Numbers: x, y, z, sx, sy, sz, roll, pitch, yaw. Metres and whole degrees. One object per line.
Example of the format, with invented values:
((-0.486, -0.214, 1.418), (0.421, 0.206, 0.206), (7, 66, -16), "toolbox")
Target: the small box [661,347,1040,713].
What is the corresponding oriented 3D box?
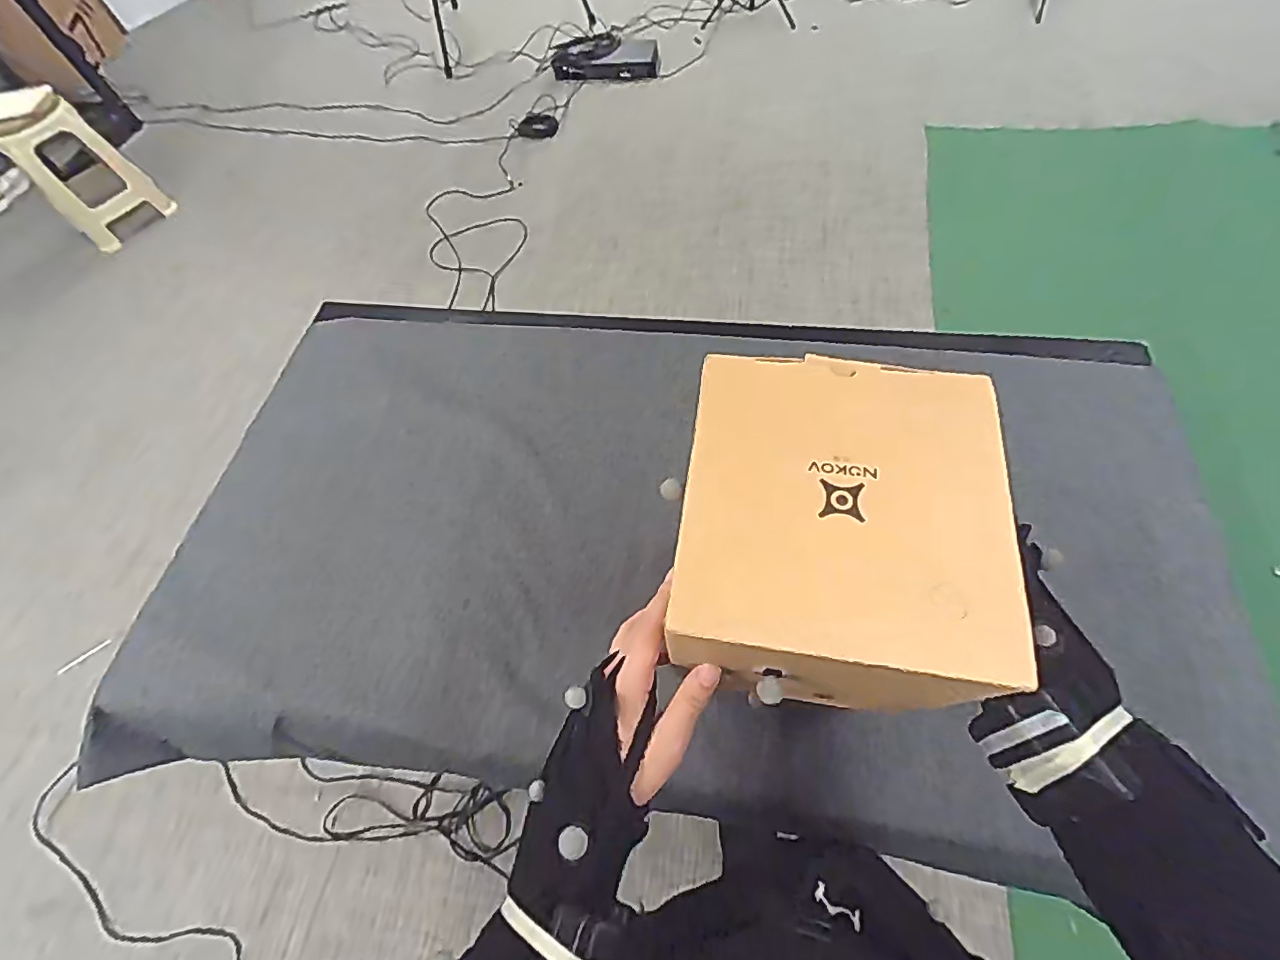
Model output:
((0.112, 0.041, 0.347), (0.168, 0.176, 0.179), (6, 62, 9), "small box")
